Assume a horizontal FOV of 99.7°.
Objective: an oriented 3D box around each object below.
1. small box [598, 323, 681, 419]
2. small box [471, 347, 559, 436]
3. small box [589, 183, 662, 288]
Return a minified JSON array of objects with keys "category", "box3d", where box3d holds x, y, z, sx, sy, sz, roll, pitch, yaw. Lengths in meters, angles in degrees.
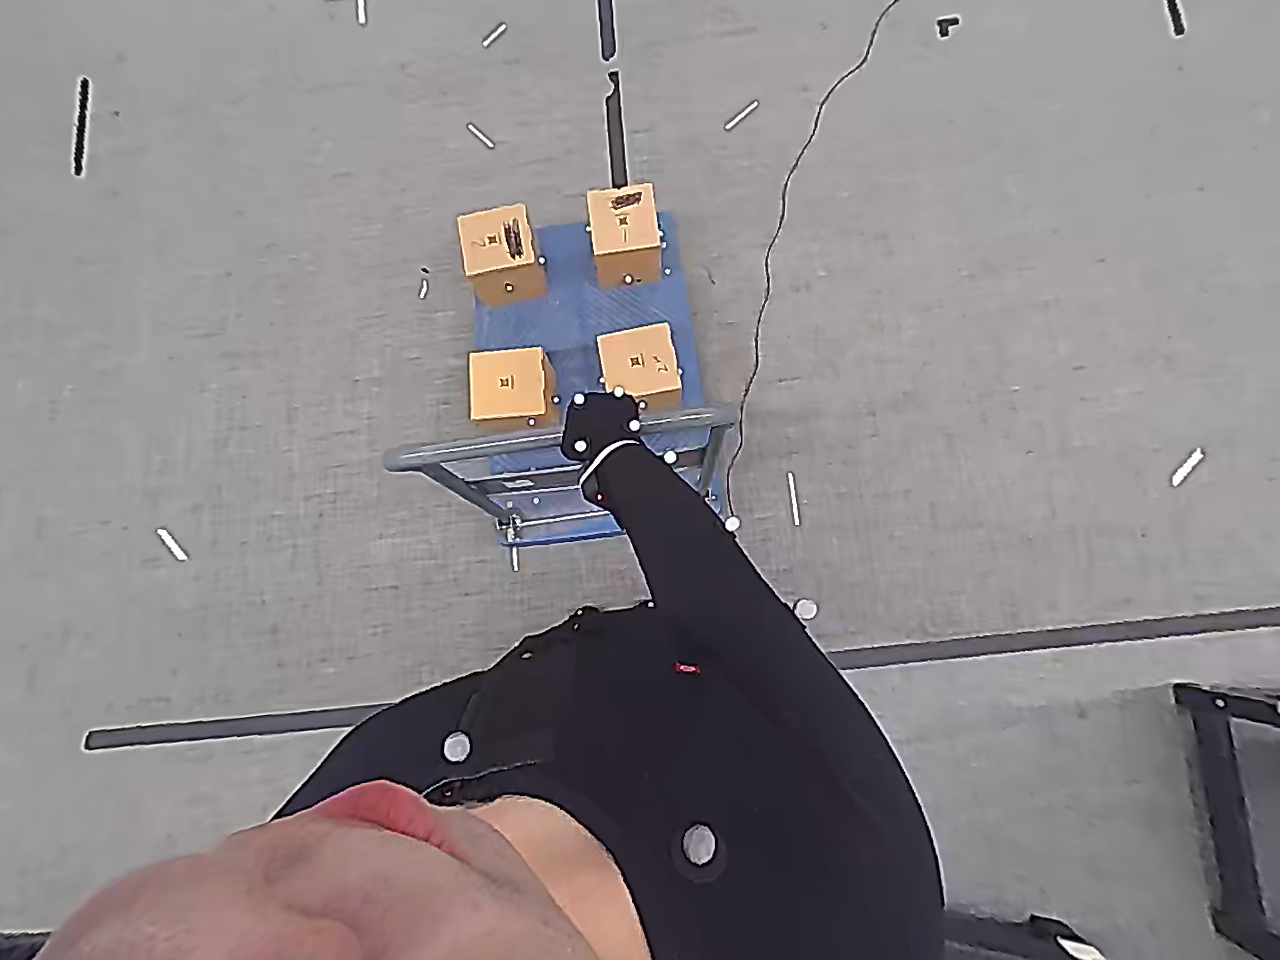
[{"category":"small box","box3d":[0.003,-0.260,1.330,0.179,0.176,0.168,-11,80,1]},{"category":"small box","box3d":[-0.304,-0.212,1.337,0.179,0.176,0.168,-5,79,0]},{"category":"small box","box3d":[-0.034,-0.625,1.396,0.168,0.176,0.179,-7,81,1]}]
